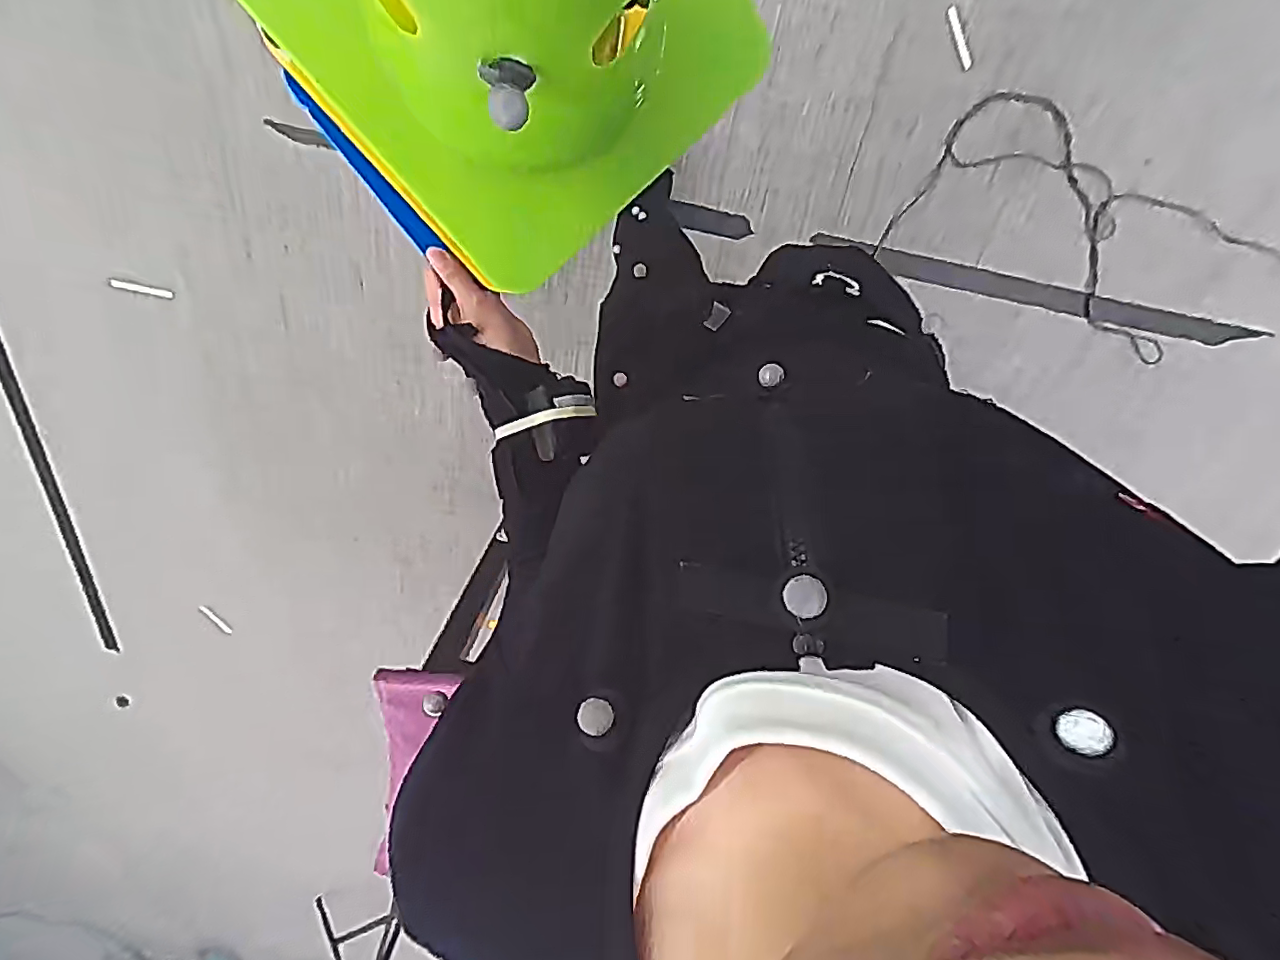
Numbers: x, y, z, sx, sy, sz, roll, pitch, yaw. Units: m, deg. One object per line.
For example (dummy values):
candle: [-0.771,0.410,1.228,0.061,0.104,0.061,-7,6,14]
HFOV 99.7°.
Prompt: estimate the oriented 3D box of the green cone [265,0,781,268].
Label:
green cone: [-0.025,-0.190,0.089,0.200,0.368,0.202,-42,109,3]
